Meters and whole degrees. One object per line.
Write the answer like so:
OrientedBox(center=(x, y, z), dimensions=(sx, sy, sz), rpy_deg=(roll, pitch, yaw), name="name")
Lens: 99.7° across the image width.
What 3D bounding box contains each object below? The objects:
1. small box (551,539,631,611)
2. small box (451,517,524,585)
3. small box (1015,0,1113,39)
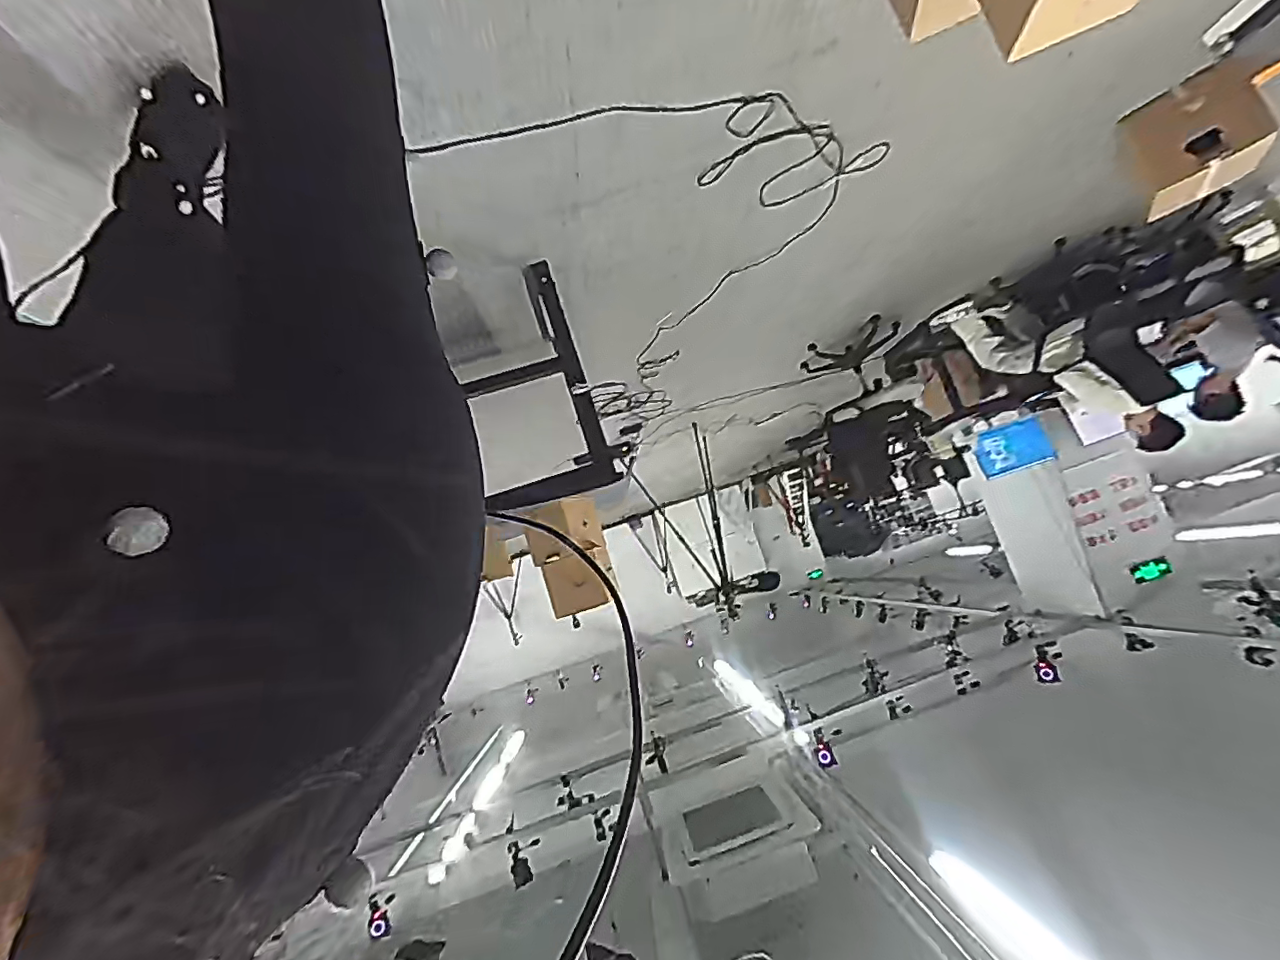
OrientedBox(center=(-0.149, 0.284, 1.663), dimensions=(0.179, 0.176, 0.168), rpy_deg=(-20, 172, 9), name="small box")
OrientedBox(center=(-0.471, 0.219, 1.683), dimensions=(0.168, 0.176, 0.179), rpy_deg=(-18, 173, -9), name="small box")
OrientedBox(center=(0.570, -0.727, 0.673), dimensions=(0.168, 0.176, 0.179), rpy_deg=(-18, 172, 13), name="small box")
